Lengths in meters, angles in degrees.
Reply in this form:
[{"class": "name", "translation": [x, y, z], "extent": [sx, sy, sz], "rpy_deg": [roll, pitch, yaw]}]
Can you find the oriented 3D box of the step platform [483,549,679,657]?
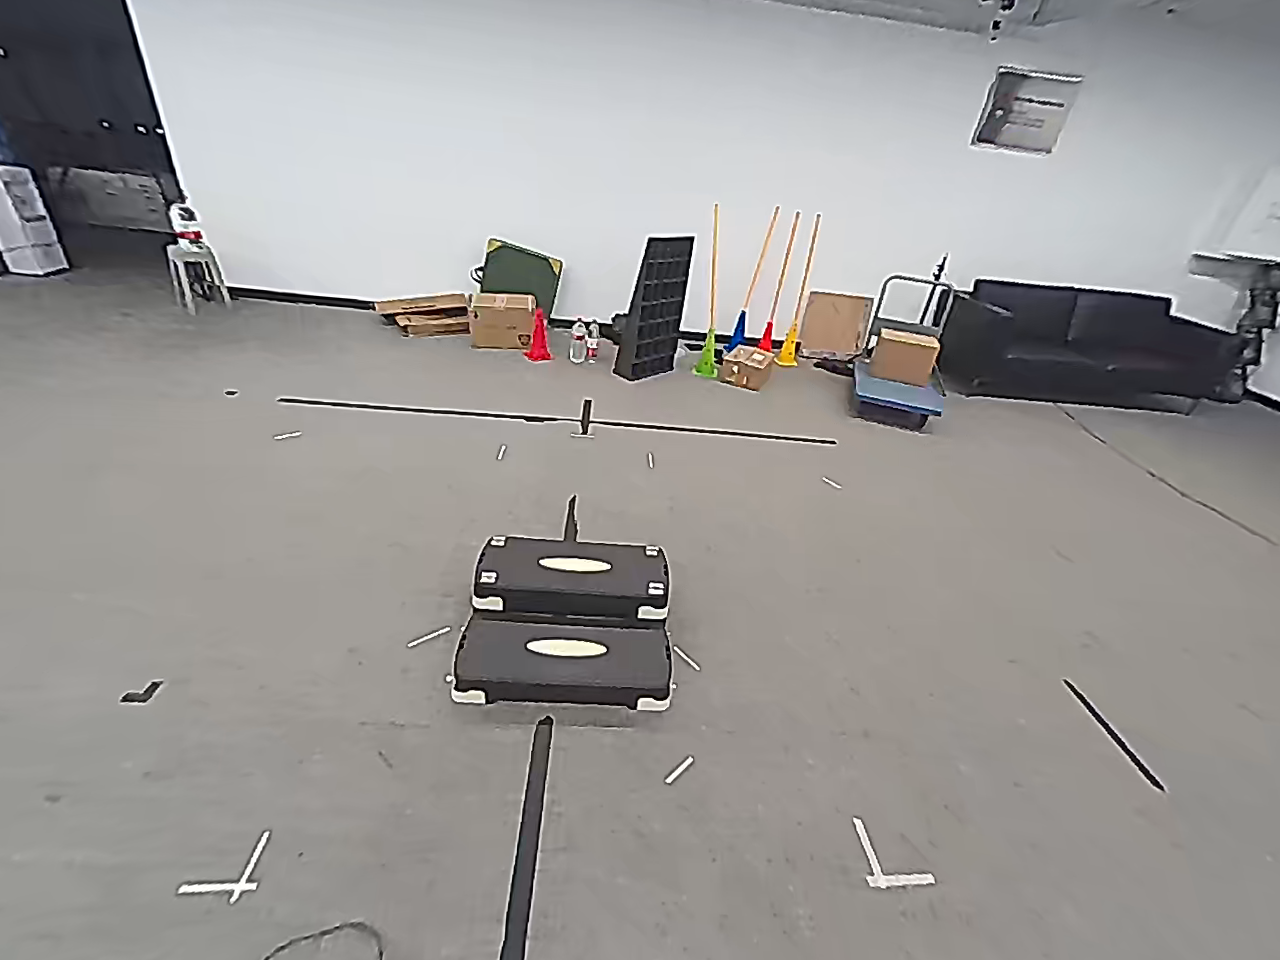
[{"class": "step platform", "translation": [-0.201, 0.432, 1.938], "extent": [0.684, 0.204, 0.286], "rpy_deg": [7, 30, -1]}]
